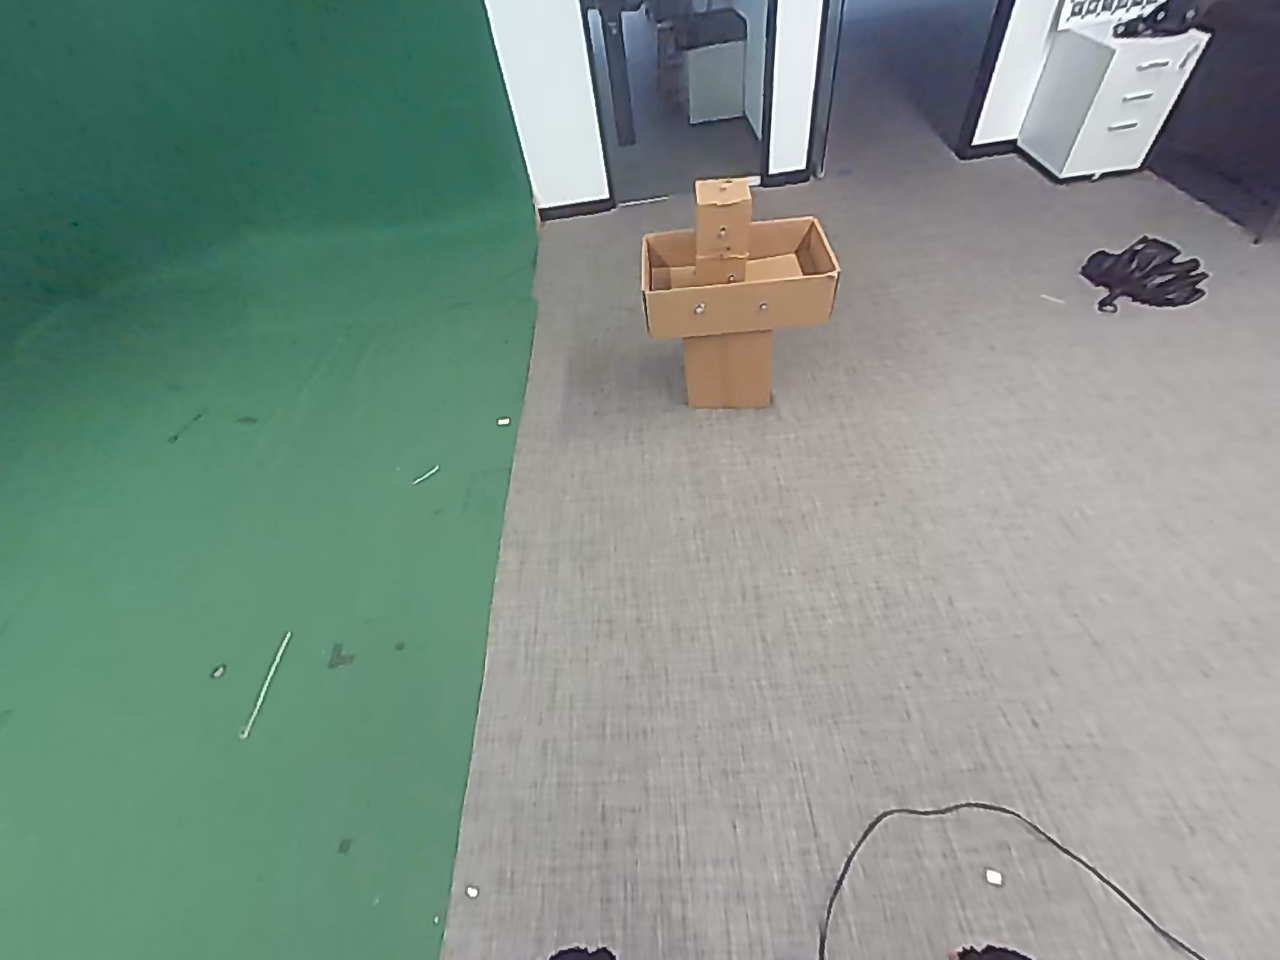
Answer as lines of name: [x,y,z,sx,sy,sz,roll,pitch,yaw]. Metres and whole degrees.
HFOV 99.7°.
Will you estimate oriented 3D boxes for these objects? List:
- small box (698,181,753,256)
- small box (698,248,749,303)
small box: [0.273,-0.838,1.745,0.168,0.176,0.179,0,50,5]
small box: [0.284,-0.723,1.862,0.168,0.176,0.179,0,47,5]
